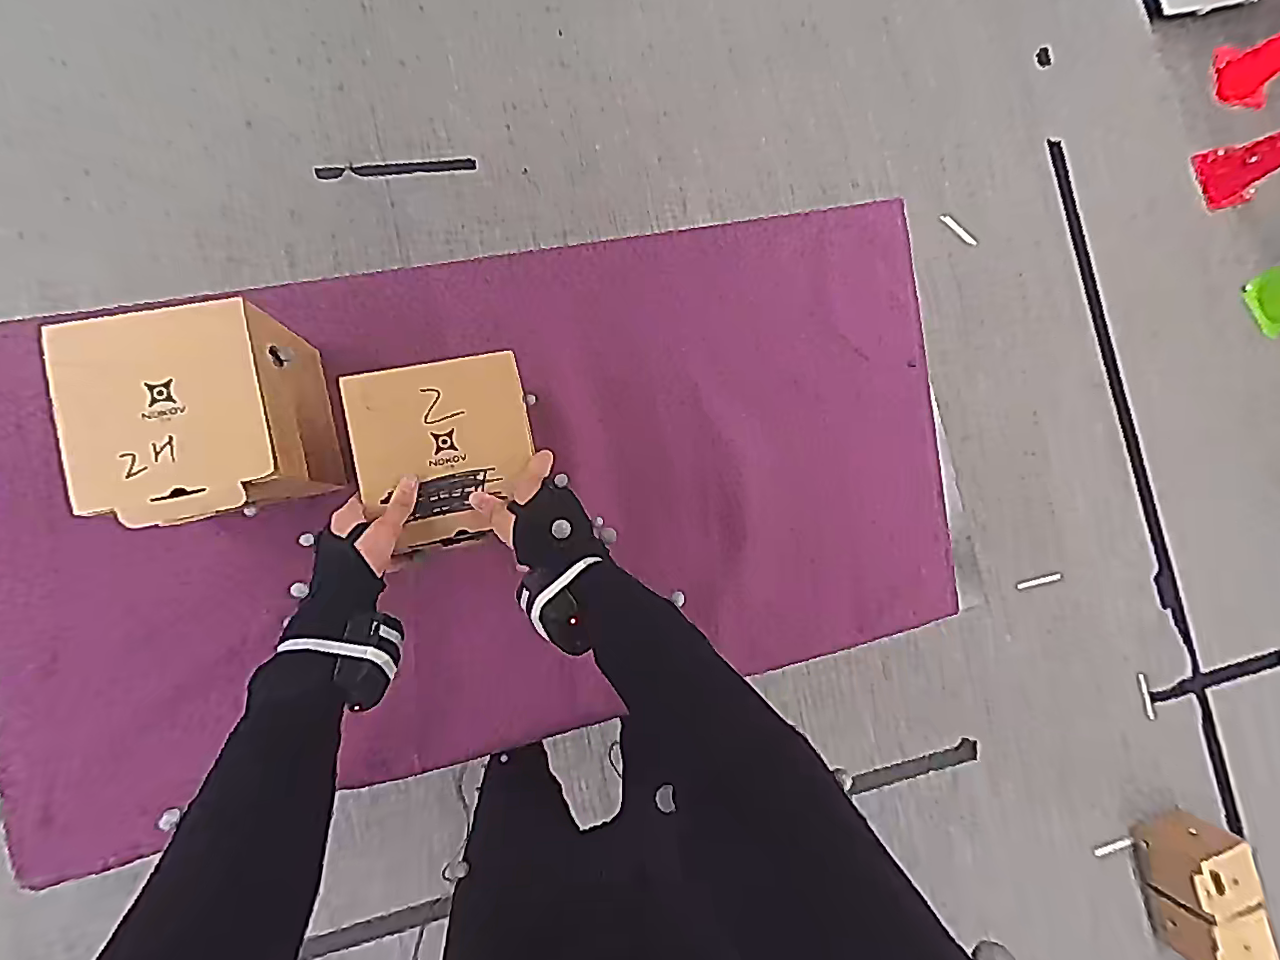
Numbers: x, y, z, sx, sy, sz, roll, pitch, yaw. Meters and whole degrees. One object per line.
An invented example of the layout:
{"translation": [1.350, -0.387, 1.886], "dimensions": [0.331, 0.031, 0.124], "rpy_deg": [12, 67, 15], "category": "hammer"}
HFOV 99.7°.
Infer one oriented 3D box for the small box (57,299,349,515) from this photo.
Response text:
{"translation": [-0.433, -0.064, 0.568], "dimensions": [0.168, 0.176, 0.179], "rpy_deg": [-12, 88, -9], "category": "small box"}
